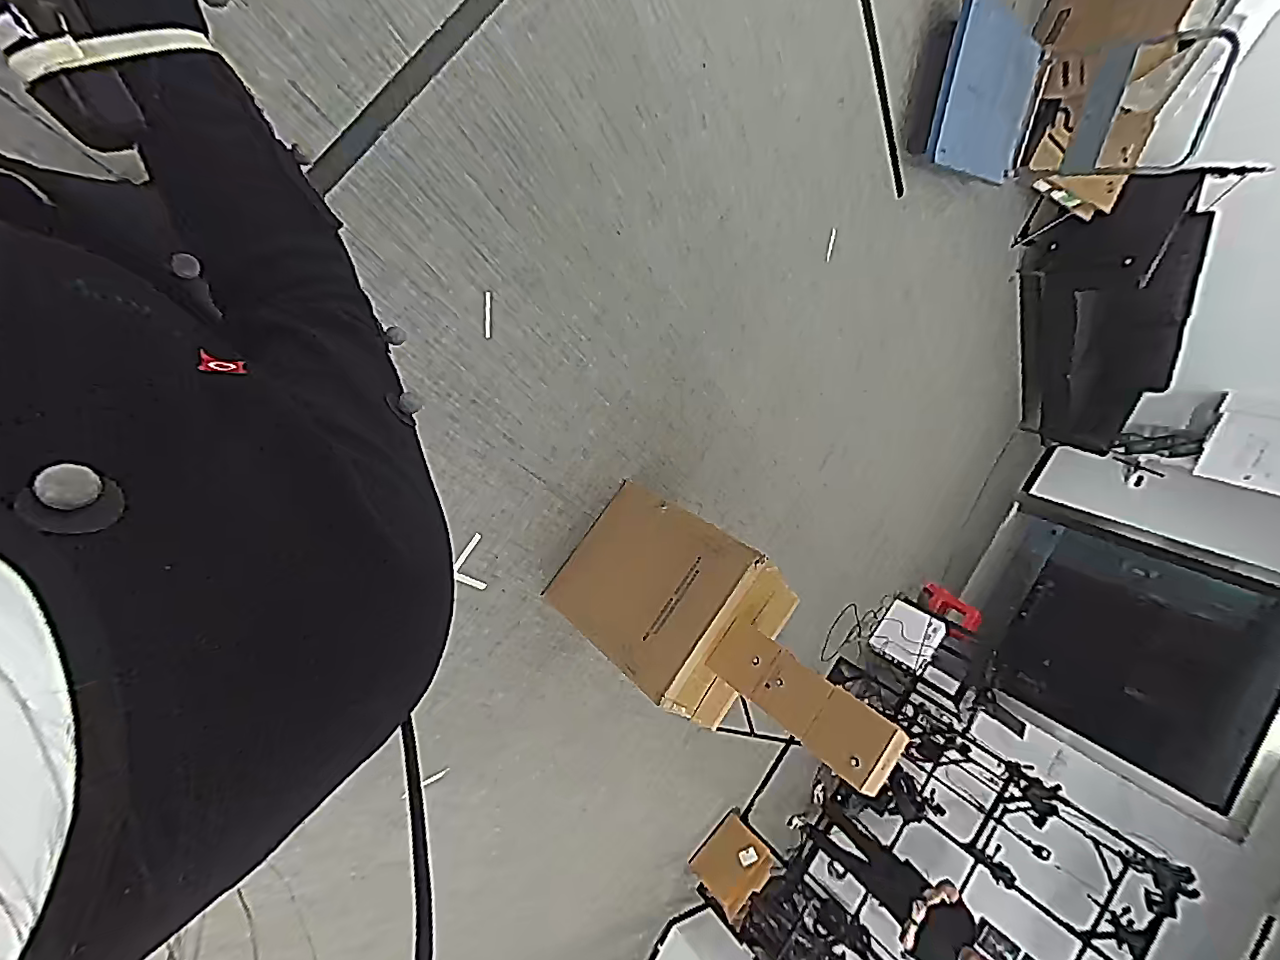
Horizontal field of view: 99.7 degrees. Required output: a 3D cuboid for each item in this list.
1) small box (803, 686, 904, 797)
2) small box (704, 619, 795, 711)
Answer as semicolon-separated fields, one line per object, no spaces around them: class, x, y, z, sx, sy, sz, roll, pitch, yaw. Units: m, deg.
small box;0.531;0.656;1.363;0.179;0.176;0.168;-54;136;-8
small box;0.318;0.537;1.584;0.179;0.176;0.168;-53;136;-8
